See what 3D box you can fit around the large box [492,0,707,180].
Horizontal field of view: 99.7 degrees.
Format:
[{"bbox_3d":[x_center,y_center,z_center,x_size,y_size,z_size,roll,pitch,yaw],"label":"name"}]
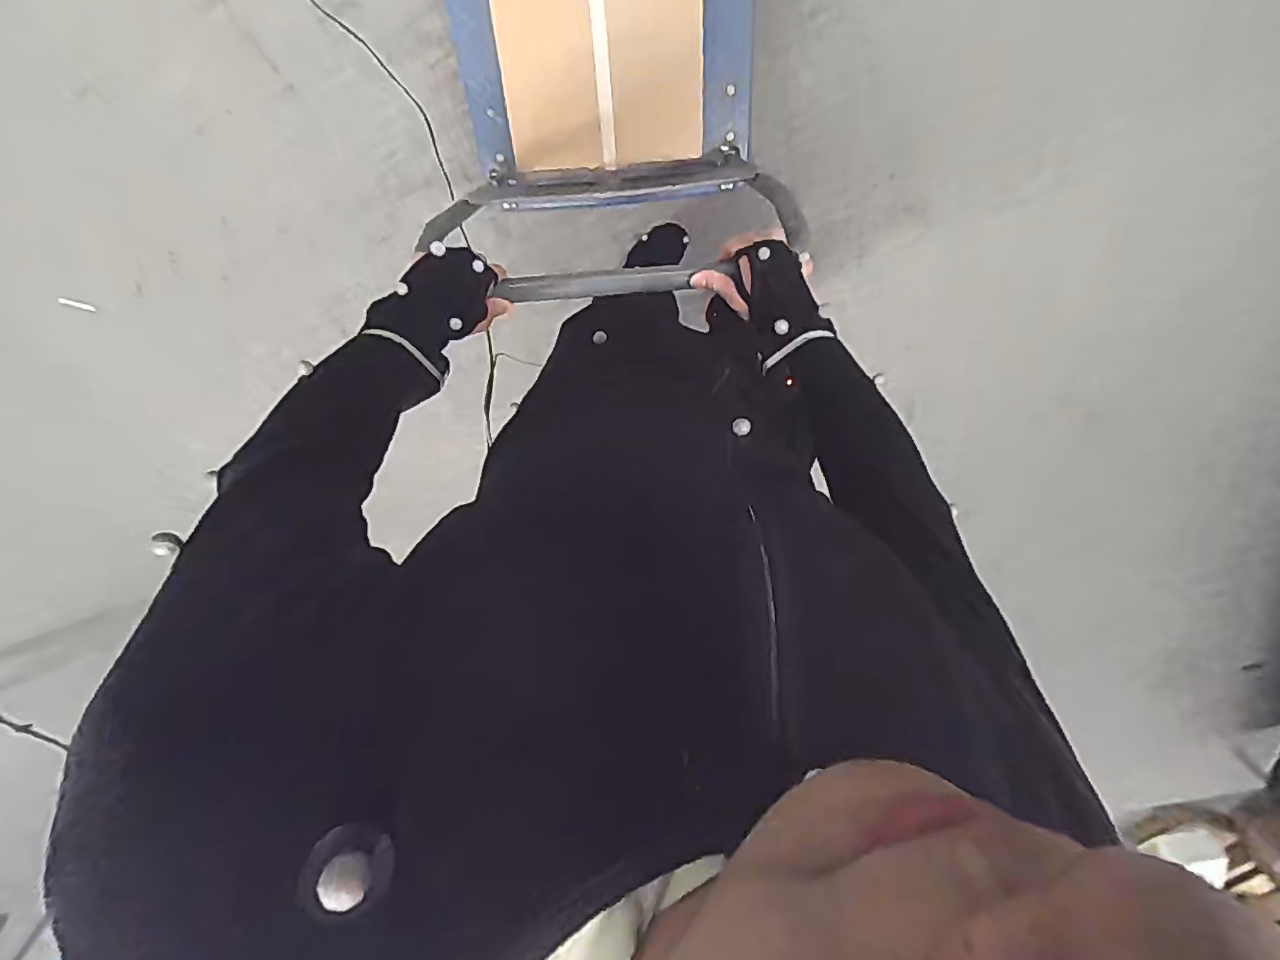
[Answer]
[{"bbox_3d":[-0.058,-0.762,0.925,0.320,0.320,0.408,-4,121,3],"label":"large box"}]
